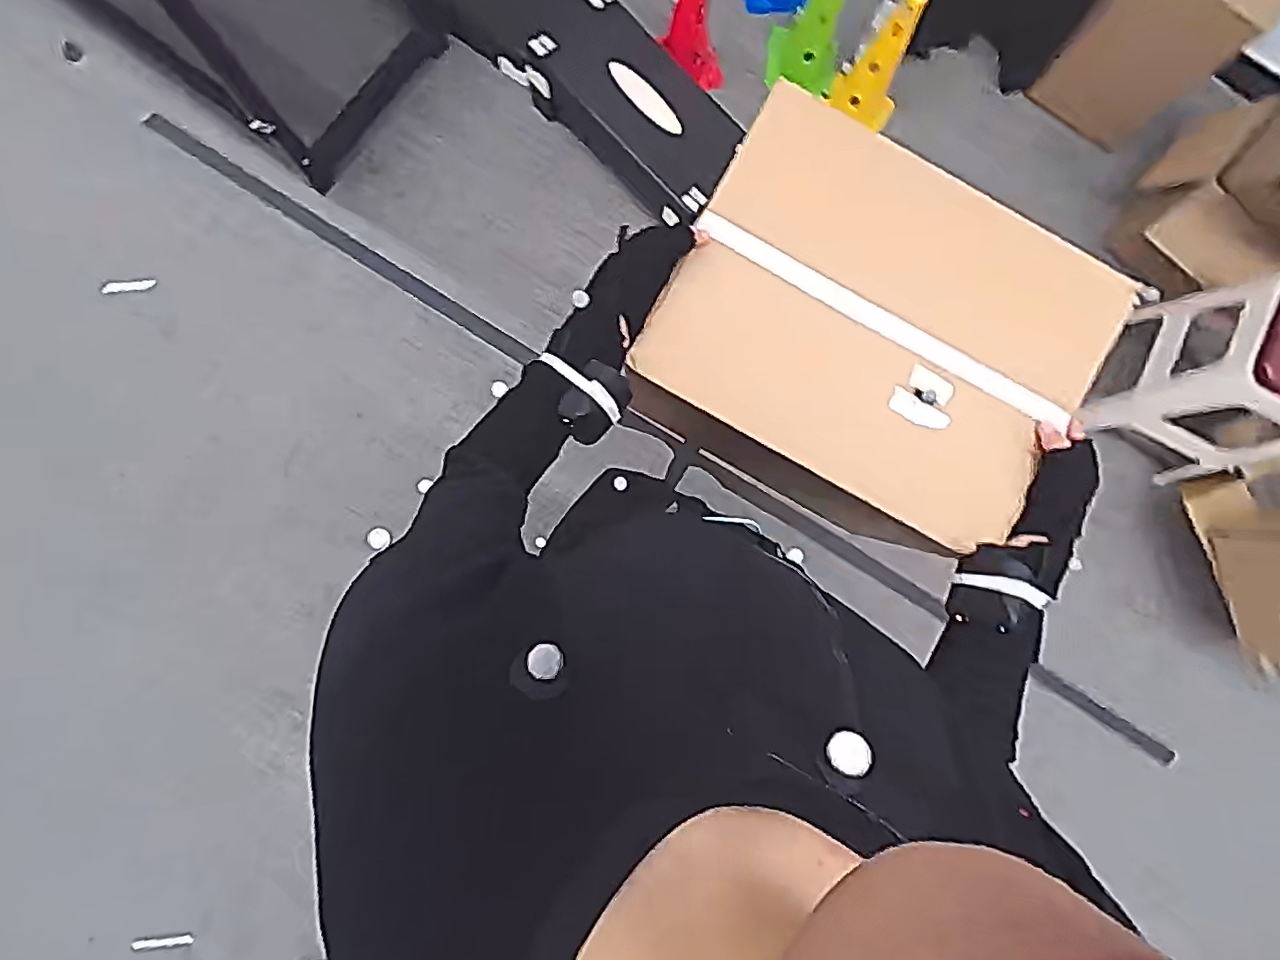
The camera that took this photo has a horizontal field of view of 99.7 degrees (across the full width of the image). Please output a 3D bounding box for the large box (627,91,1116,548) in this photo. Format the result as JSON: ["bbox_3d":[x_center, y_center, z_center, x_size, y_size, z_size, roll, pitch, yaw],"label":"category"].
[{"bbox_3d":[0.227,-0.159,0.682,0.408,0.320,0.320,30,91,-2],"label":"large box"}]
